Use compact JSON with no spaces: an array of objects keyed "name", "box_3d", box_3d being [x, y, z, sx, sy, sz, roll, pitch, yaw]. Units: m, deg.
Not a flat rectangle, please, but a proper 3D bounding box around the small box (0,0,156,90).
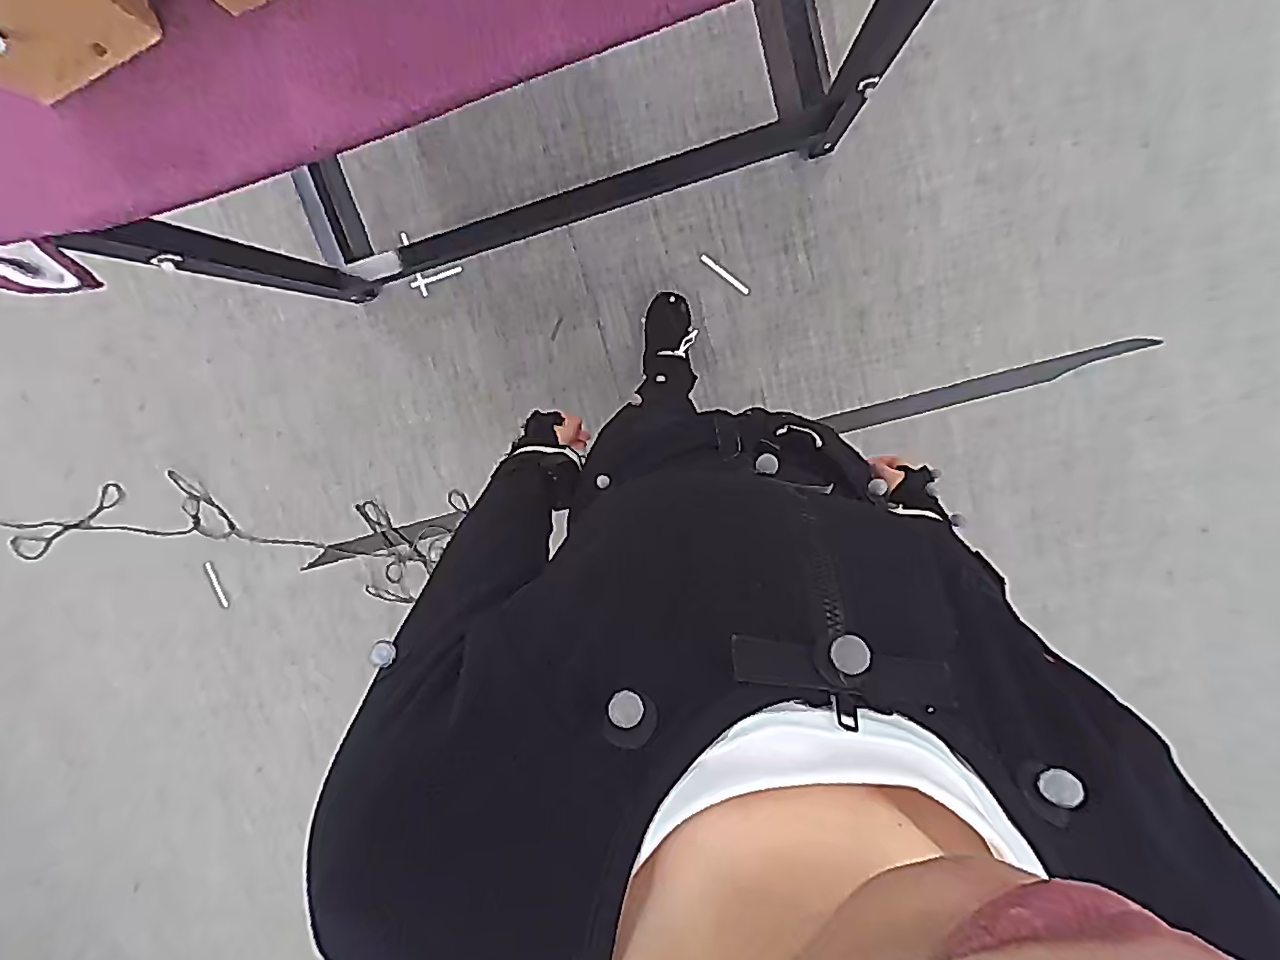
[{"name":"small box","box_3d":[-0.621,-0.508,0.501,0.168,0.176,0.179,-22,99,8]}]
